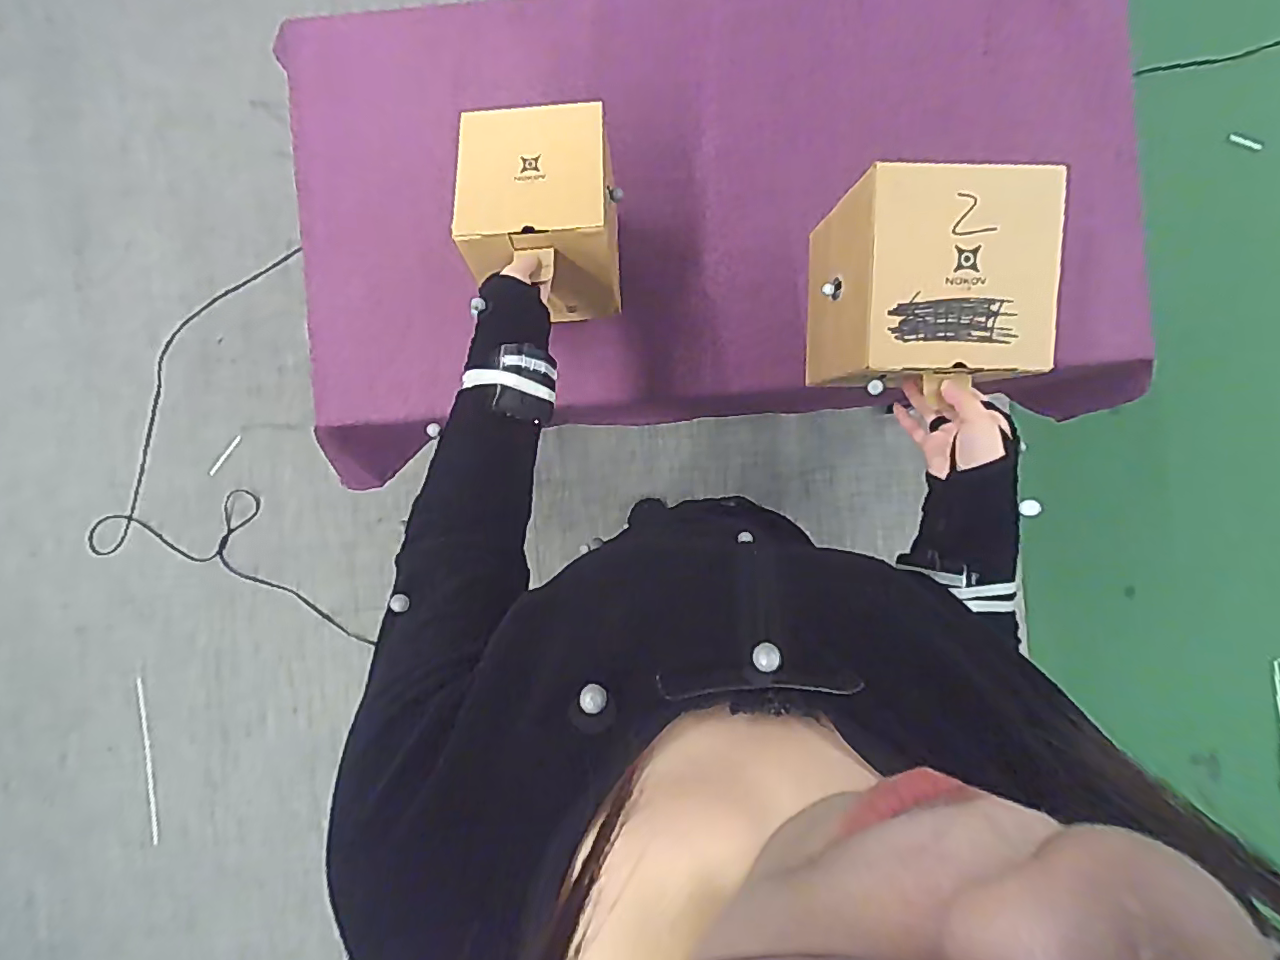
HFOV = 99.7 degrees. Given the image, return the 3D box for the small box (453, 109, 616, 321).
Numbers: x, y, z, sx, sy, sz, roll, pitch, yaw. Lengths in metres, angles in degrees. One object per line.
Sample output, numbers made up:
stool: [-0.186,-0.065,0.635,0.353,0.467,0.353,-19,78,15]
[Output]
small box: [-0.122,-0.326,0.687,0.168,0.176,0.179,-3,74,2]
